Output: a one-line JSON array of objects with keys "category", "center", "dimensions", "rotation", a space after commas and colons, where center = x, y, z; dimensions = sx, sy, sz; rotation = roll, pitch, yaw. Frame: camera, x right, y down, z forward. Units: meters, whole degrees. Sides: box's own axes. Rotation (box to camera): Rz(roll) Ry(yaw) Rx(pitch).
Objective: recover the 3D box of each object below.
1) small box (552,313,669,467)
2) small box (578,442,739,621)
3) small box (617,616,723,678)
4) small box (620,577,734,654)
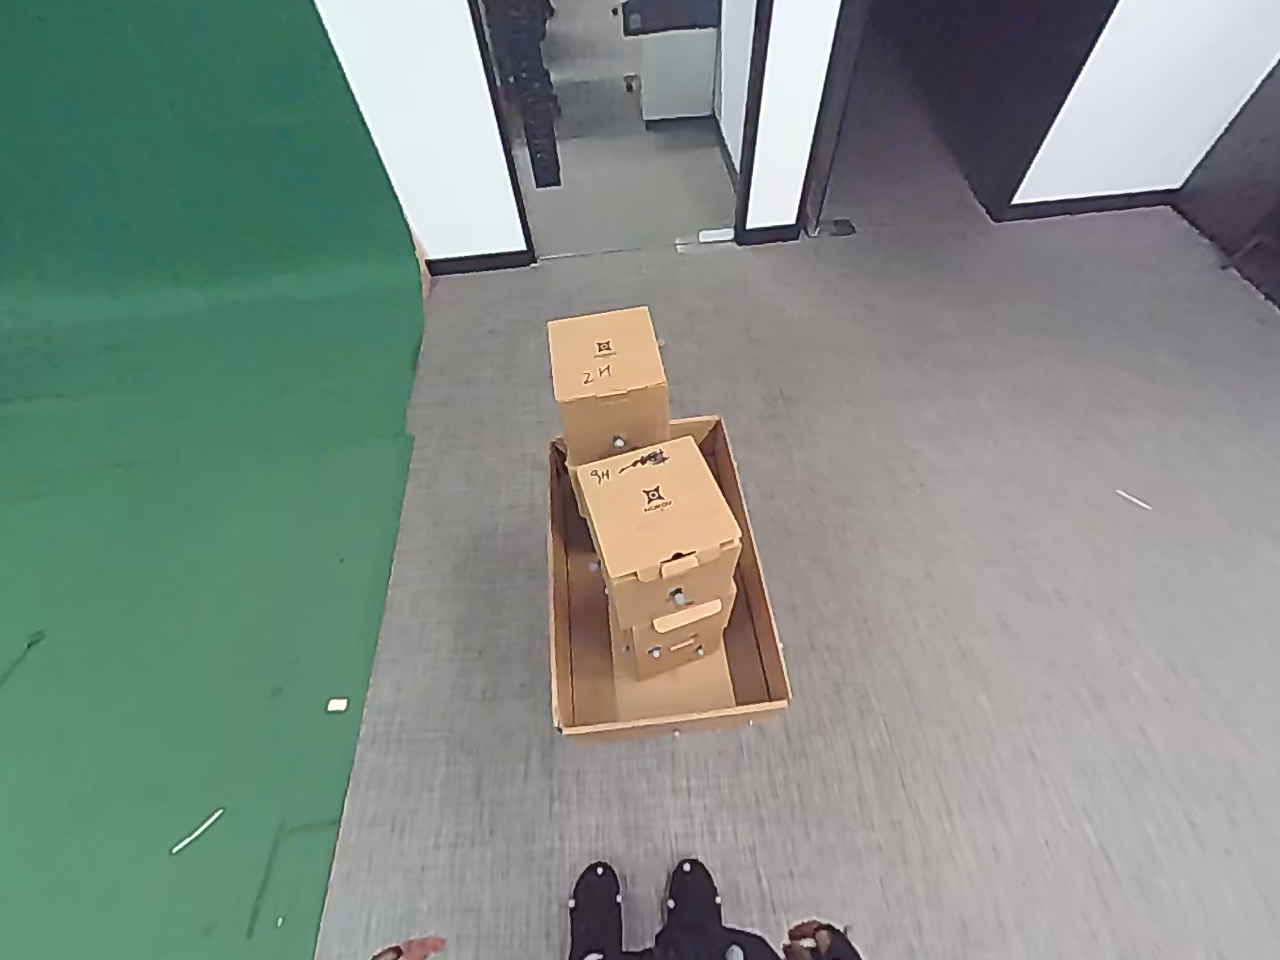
[{"category": "small box", "center": [-0.046, -0.146, 0.899], "dimensions": [0.168, 0.176, 0.179], "rotation": [-10, 57, -1]}, {"category": "small box", "center": [0.022, 0.080, 0.748], "dimensions": [0.168, 0.176, 0.179], "rotation": [-15, 57, -9]}, {"category": "small box", "center": [0.045, 0.257, 1.023], "dimensions": [0.168, 0.176, 0.179], "rotation": [-17, 56, -9]}, {"category": "small box", "center": [0.040, 0.168, 0.886], "dimensions": [0.168, 0.176, 0.179], "rotation": [-17, 56, -9]}]
